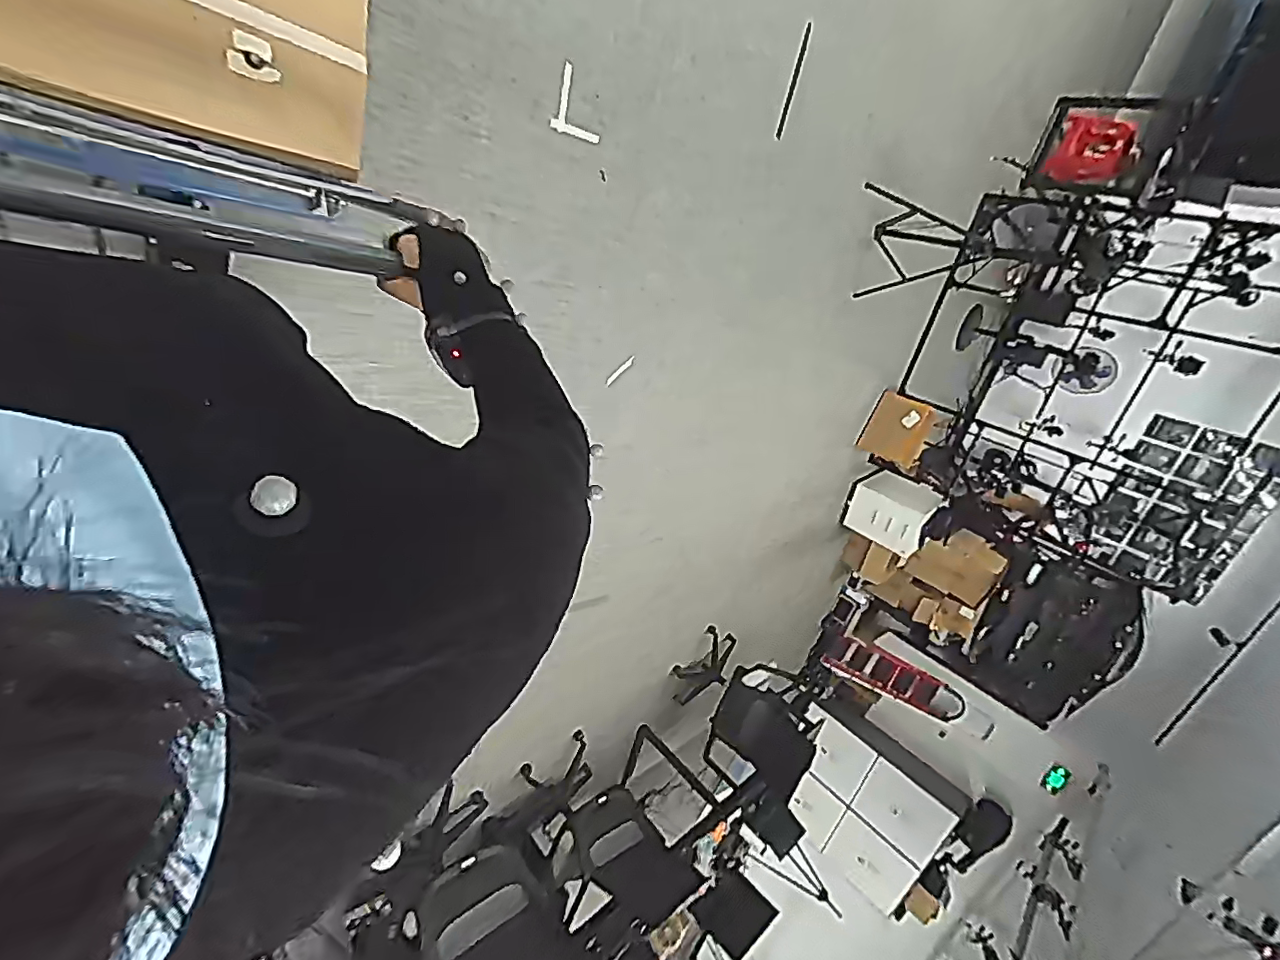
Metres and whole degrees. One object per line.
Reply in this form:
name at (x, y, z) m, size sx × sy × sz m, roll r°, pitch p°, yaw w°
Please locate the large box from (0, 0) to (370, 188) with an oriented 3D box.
large box at (-0.632, -0.623, 0.718) m, size 0.408 × 0.320 × 0.320 m, roll -8°, pitch 122°, yaw -47°
